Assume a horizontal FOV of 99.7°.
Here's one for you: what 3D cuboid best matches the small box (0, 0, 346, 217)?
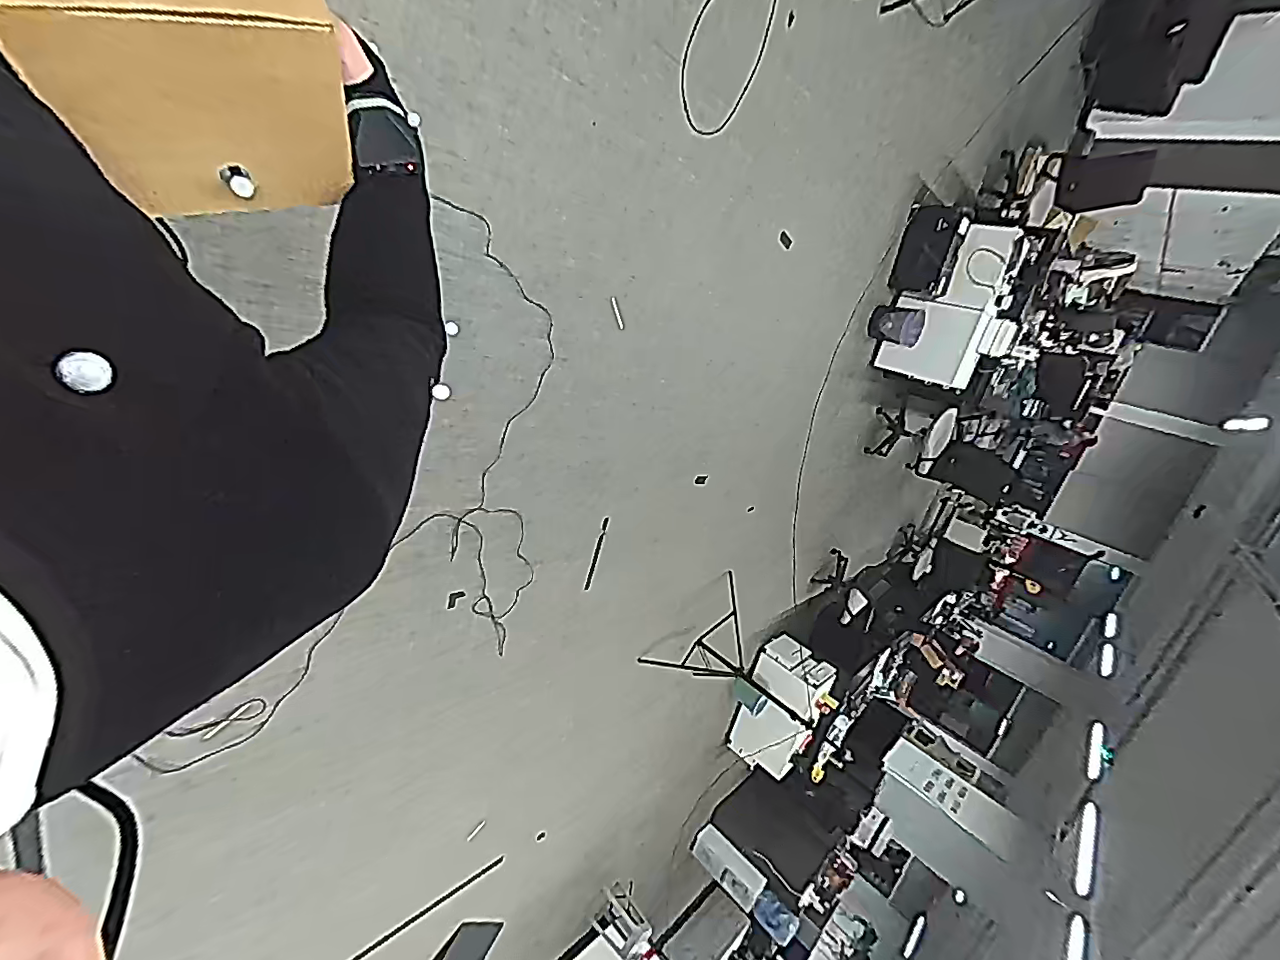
[{"bbox_3d":[-0.342,-0.331,0.414,0.179,0.176,0.168,-20,84,-27],"label":"small box"}]
